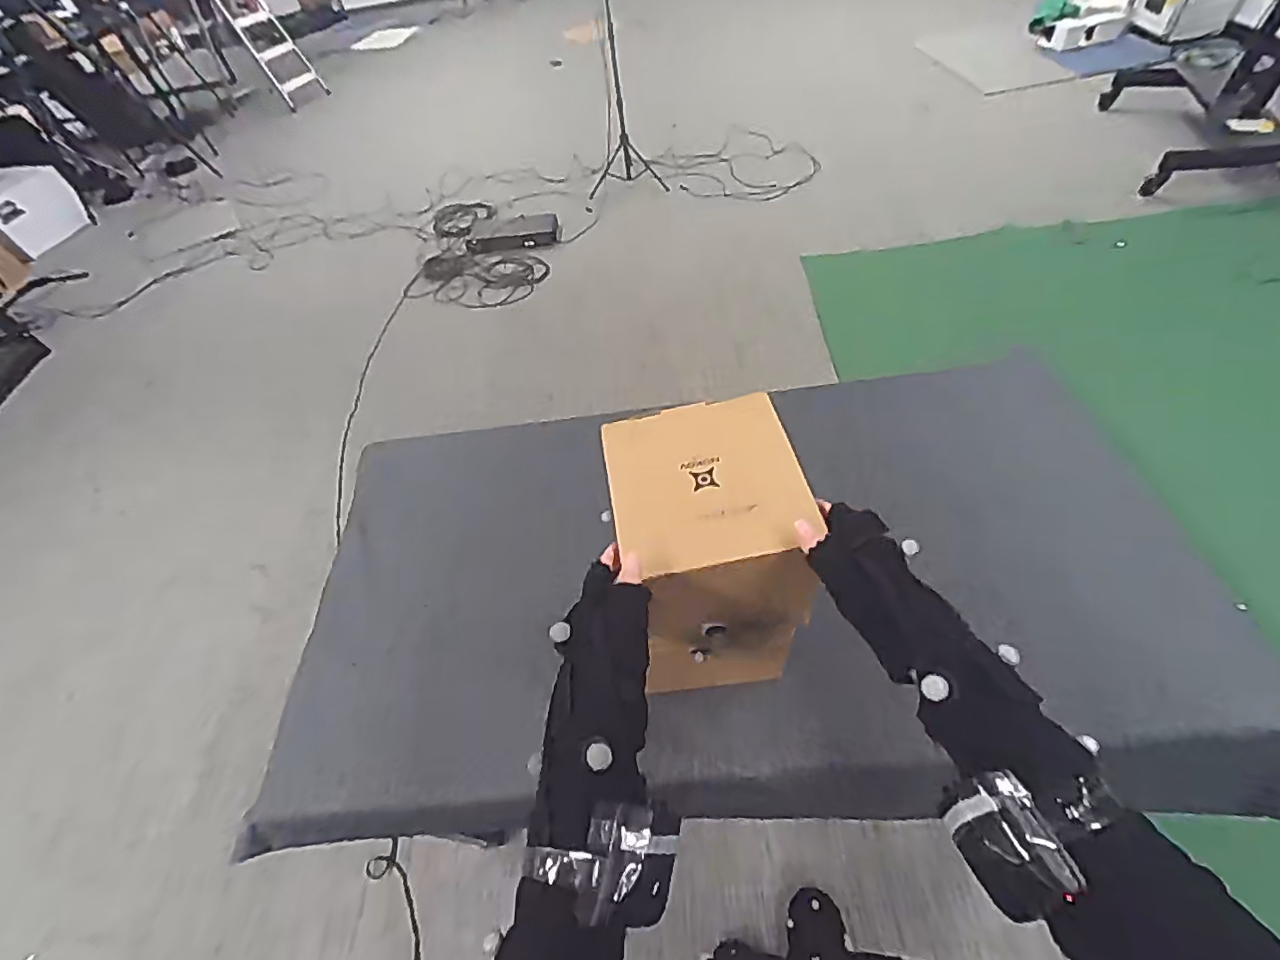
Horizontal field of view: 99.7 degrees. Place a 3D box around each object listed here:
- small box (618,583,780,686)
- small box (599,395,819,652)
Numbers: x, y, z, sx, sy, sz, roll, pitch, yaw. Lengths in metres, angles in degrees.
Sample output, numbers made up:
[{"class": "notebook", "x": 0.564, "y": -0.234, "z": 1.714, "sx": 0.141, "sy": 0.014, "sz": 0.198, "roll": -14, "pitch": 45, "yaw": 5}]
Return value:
[{"class": "small box", "x": 0.071, "y": 0.142, "z": 0.664, "sx": 0.179, "sy": 0.176, "sz": 0.168, "roll": -7, "pitch": 52, "yaw": 3}, {"class": "small box", "x": 0.059, "y": 0.047, "z": 0.533, "sx": 0.168, "sy": 0.176, "sz": 0.179, "roll": -11, "pitch": 52, "yaw": 2}]
